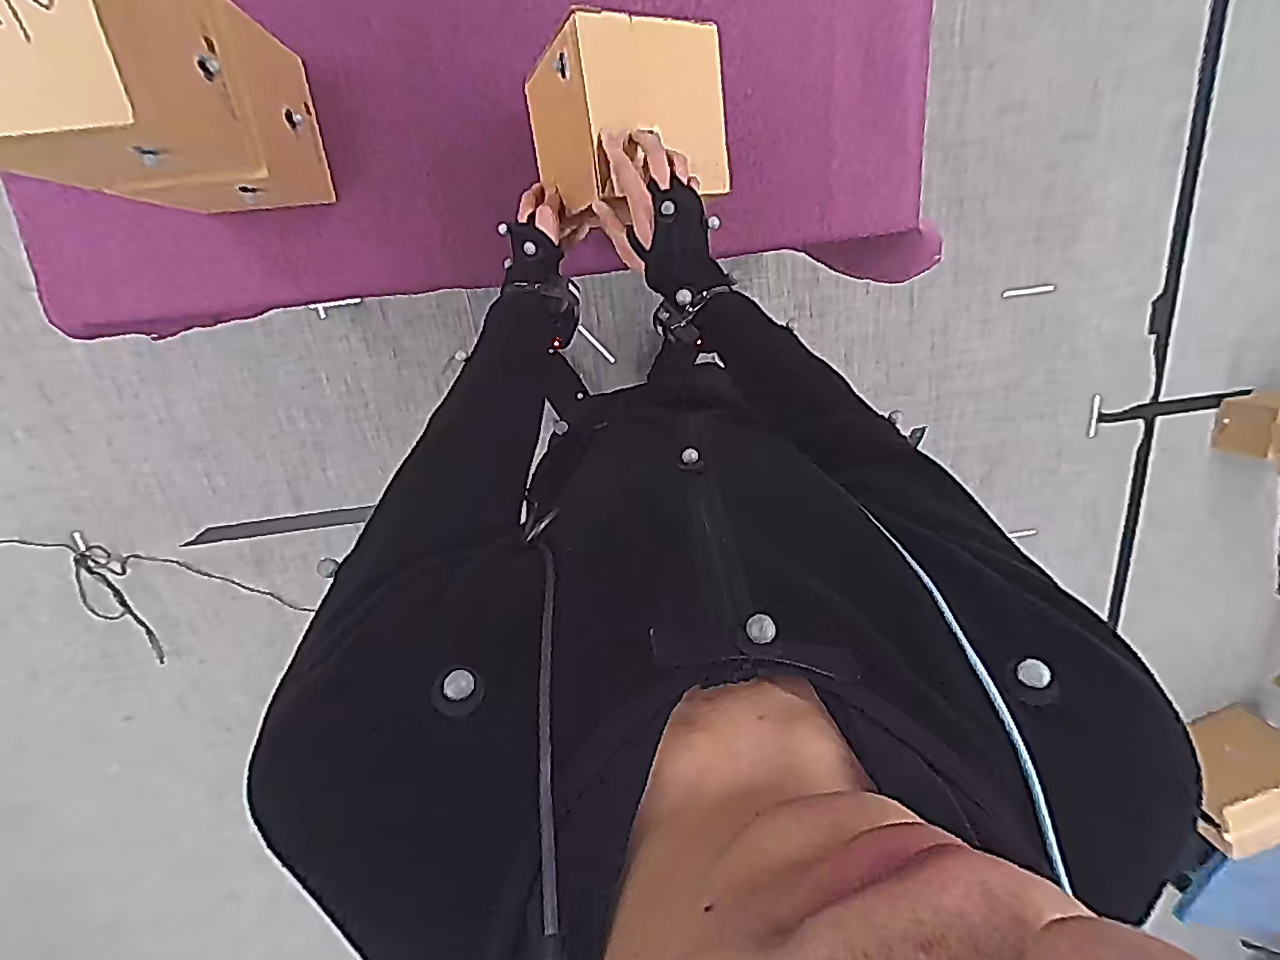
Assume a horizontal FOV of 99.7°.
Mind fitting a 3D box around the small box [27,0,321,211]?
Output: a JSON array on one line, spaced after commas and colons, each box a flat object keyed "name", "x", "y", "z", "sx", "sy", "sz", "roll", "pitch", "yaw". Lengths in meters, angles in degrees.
[{"name": "small box", "x": -0.495, "y": -0.412, "z": 0.616, "sx": 0.179, "sy": 0.176, "sz": 0.168, "roll": -6, "pitch": 109, "yaw": -3}]

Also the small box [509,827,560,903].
[{"name": "small box", "x": -0.397, "y": 1.453, "z": 2.054, "sx": 0.168, "sy": 0.176, "sz": 0.179, "roll": -5, "pitch": 110, "yaw": -3}]

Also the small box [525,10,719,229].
[{"name": "small box", "x": -0.023, "y": -0.399, "z": 0.635, "sx": 0.168, "sy": 0.179, "sz": 0.176, "roll": -15, "pitch": 111, "yaw": -24}]
